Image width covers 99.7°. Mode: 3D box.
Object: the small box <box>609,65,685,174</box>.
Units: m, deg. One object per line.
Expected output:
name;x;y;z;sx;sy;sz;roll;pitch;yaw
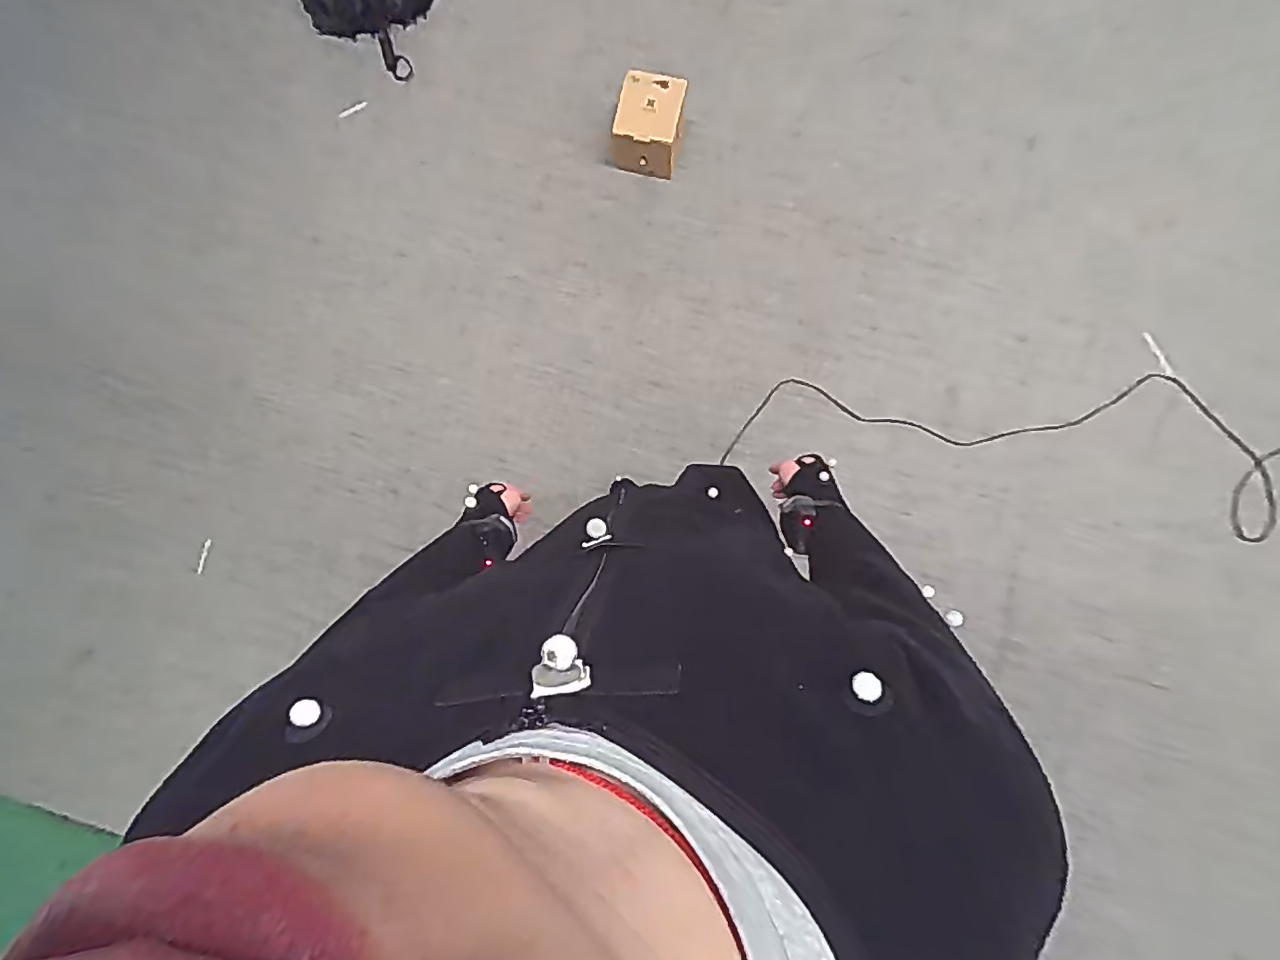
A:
small box;0.024;-0.974;1.476;0.168;0.176;0.179;14;92;3
